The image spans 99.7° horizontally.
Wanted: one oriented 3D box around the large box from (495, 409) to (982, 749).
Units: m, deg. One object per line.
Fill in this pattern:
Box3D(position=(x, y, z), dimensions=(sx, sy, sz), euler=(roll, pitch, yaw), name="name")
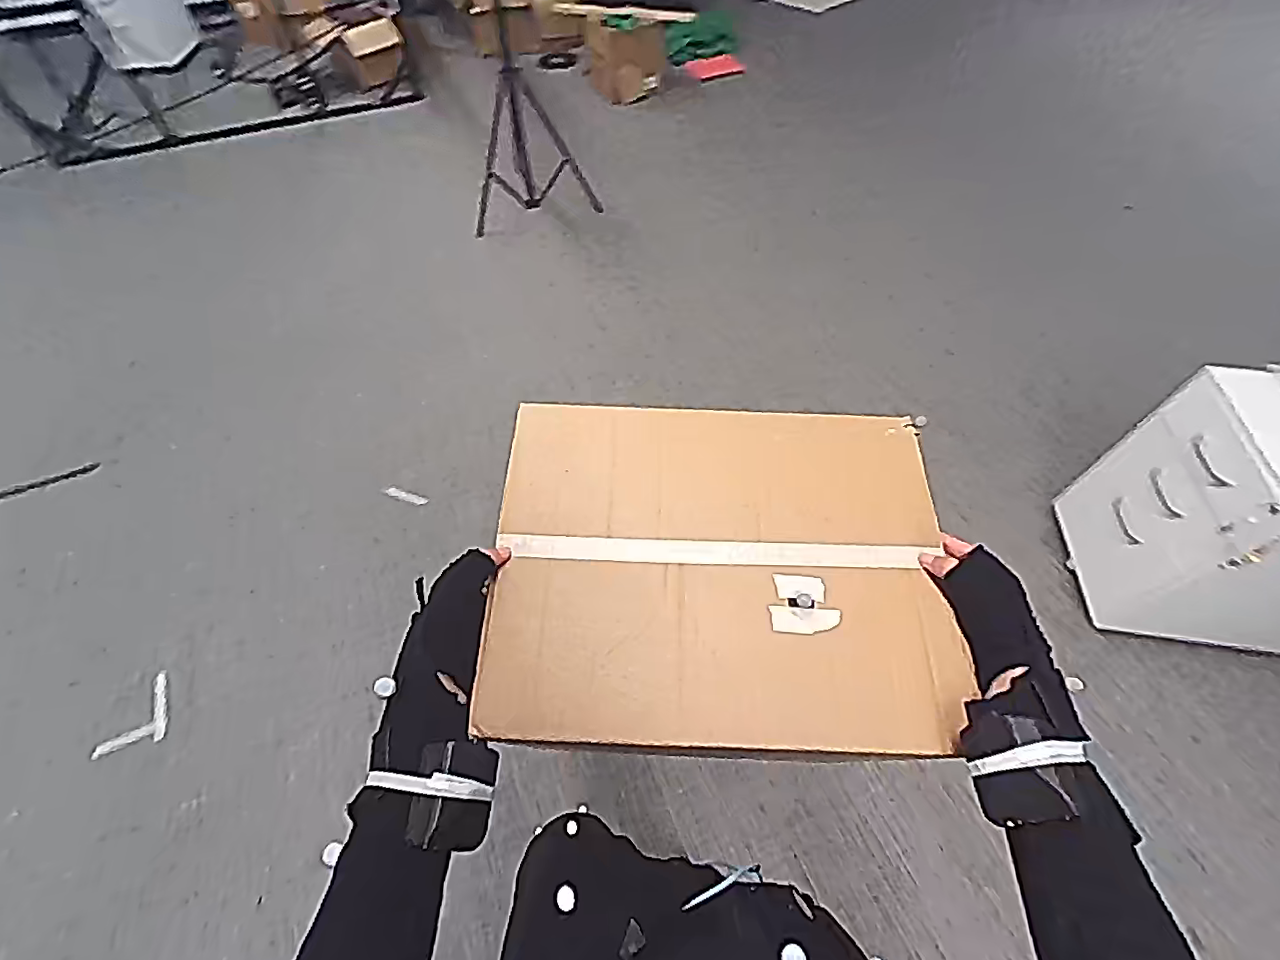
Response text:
Box3D(position=(0.078, 0.136, 0.633), dimensions=(0.408, 0.320, 0.320), euler=(3, 63, 0), name="large box")
